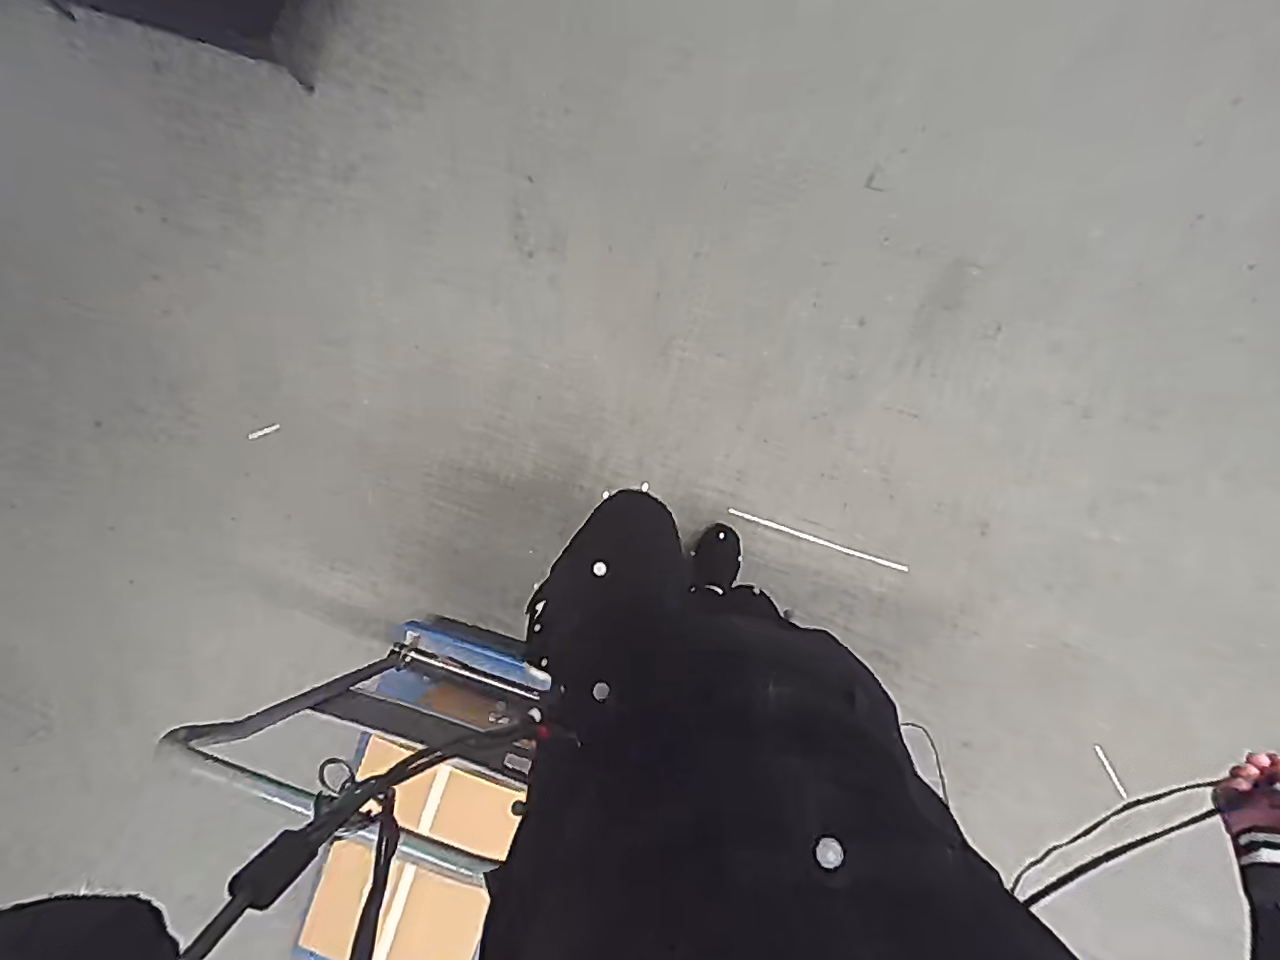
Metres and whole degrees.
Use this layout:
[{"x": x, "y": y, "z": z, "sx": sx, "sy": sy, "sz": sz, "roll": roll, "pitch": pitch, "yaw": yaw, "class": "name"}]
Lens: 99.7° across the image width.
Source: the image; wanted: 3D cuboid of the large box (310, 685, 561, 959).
[{"x": -0.393, "y": 0.712, "z": 1.132, "sx": 0.320, "sy": 0.320, "sz": 0.408, "roll": 19, "pitch": 88, "yaw": 5, "class": "large box"}]
